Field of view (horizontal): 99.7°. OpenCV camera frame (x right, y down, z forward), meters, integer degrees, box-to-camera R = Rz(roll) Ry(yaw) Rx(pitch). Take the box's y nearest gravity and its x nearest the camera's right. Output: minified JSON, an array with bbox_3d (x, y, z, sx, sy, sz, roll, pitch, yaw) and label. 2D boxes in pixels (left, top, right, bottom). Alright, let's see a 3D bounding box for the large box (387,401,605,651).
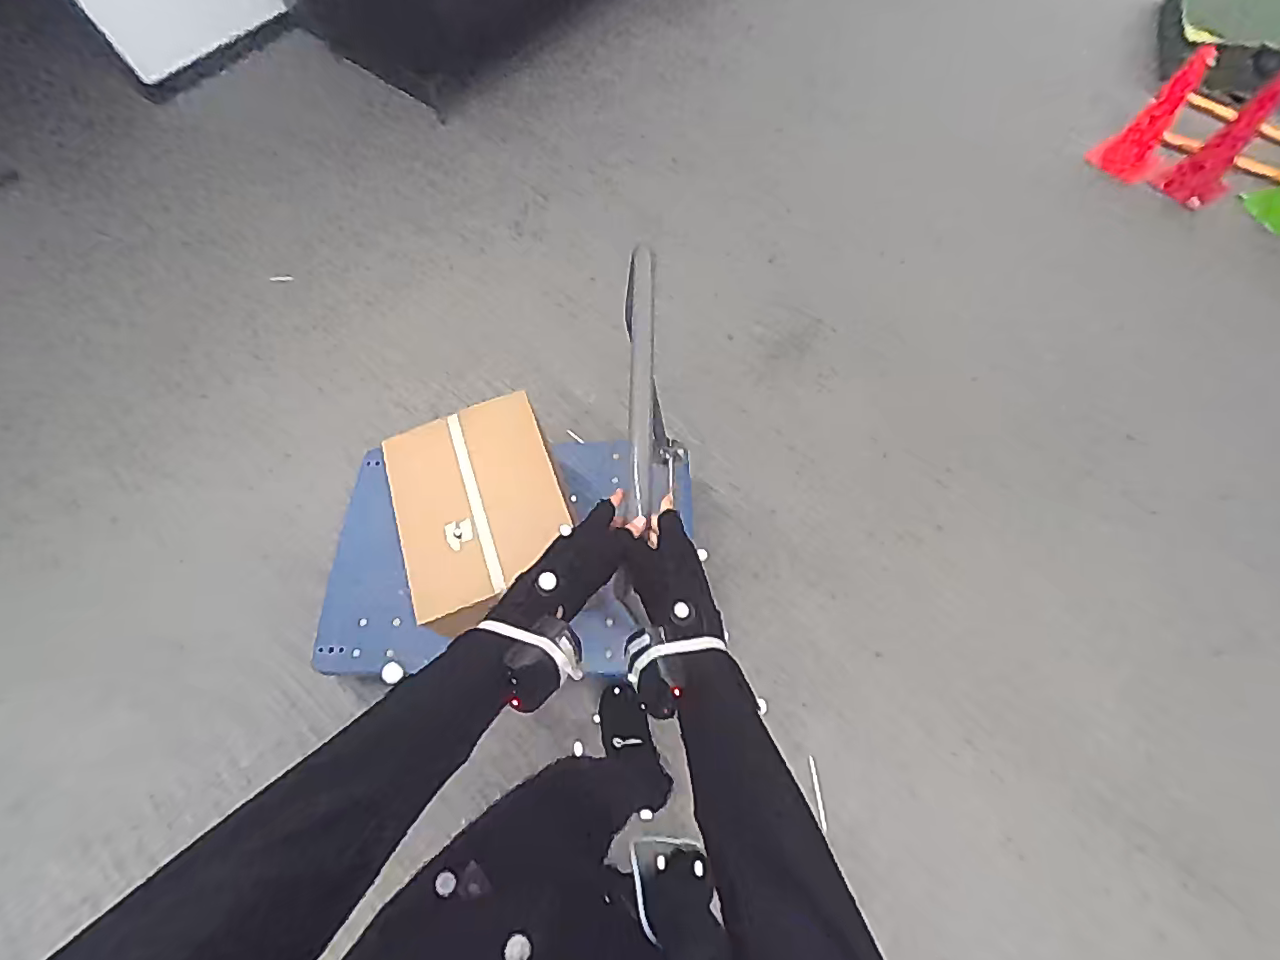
[{"bbox_3d":[-0.301,0.109,1.186,0.320,0.320,0.408,-22,65,-5],"label":"large box"}]
